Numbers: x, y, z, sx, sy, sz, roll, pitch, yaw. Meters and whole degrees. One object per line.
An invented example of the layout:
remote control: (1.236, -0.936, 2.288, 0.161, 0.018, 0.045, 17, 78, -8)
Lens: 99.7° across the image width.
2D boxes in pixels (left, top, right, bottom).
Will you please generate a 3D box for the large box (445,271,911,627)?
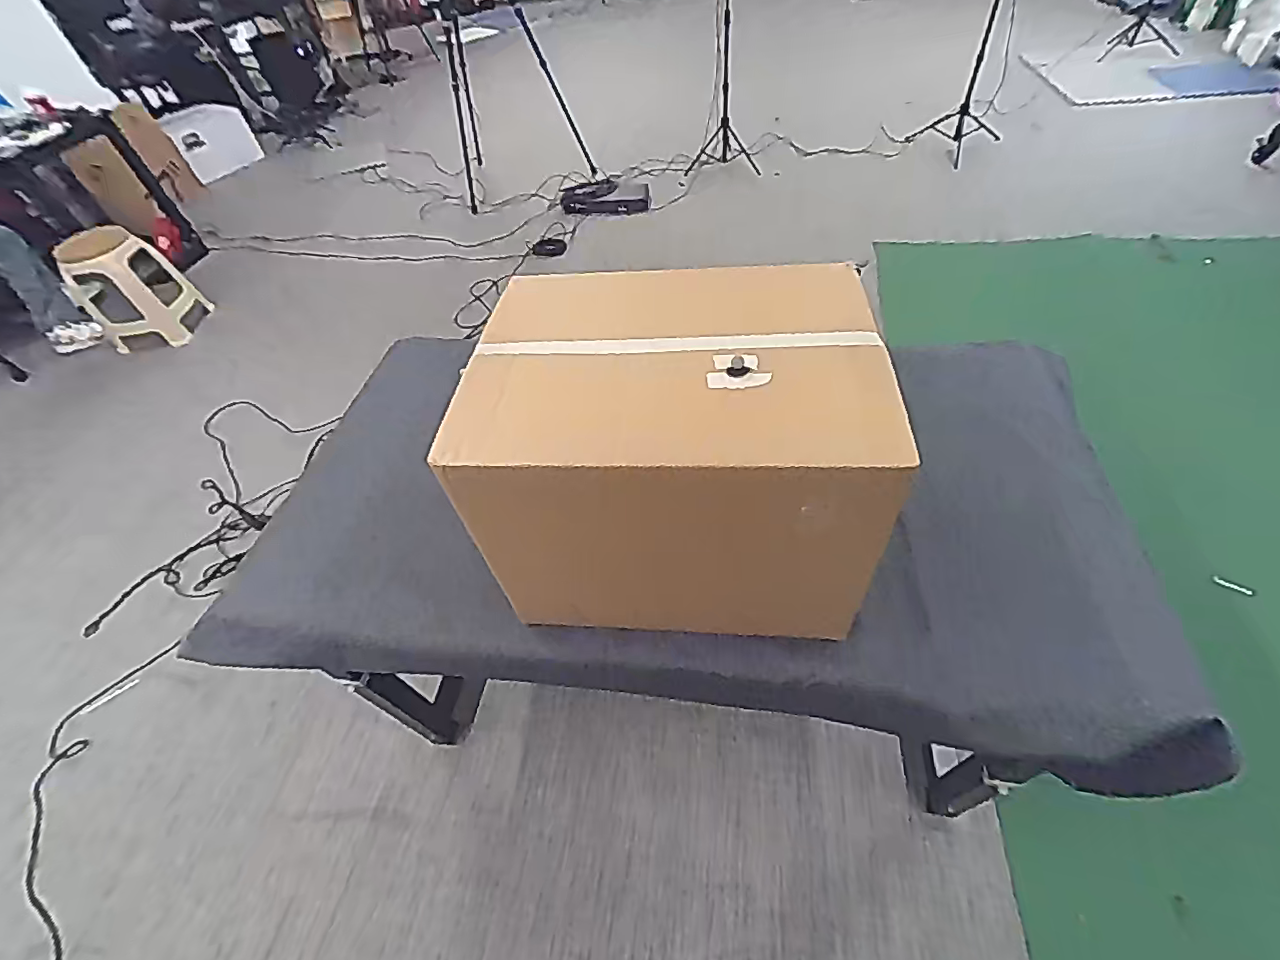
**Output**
large box: (0.044, -0.031, 0.661, 0.408, 0.320, 0.320, 1, 50, 7)
